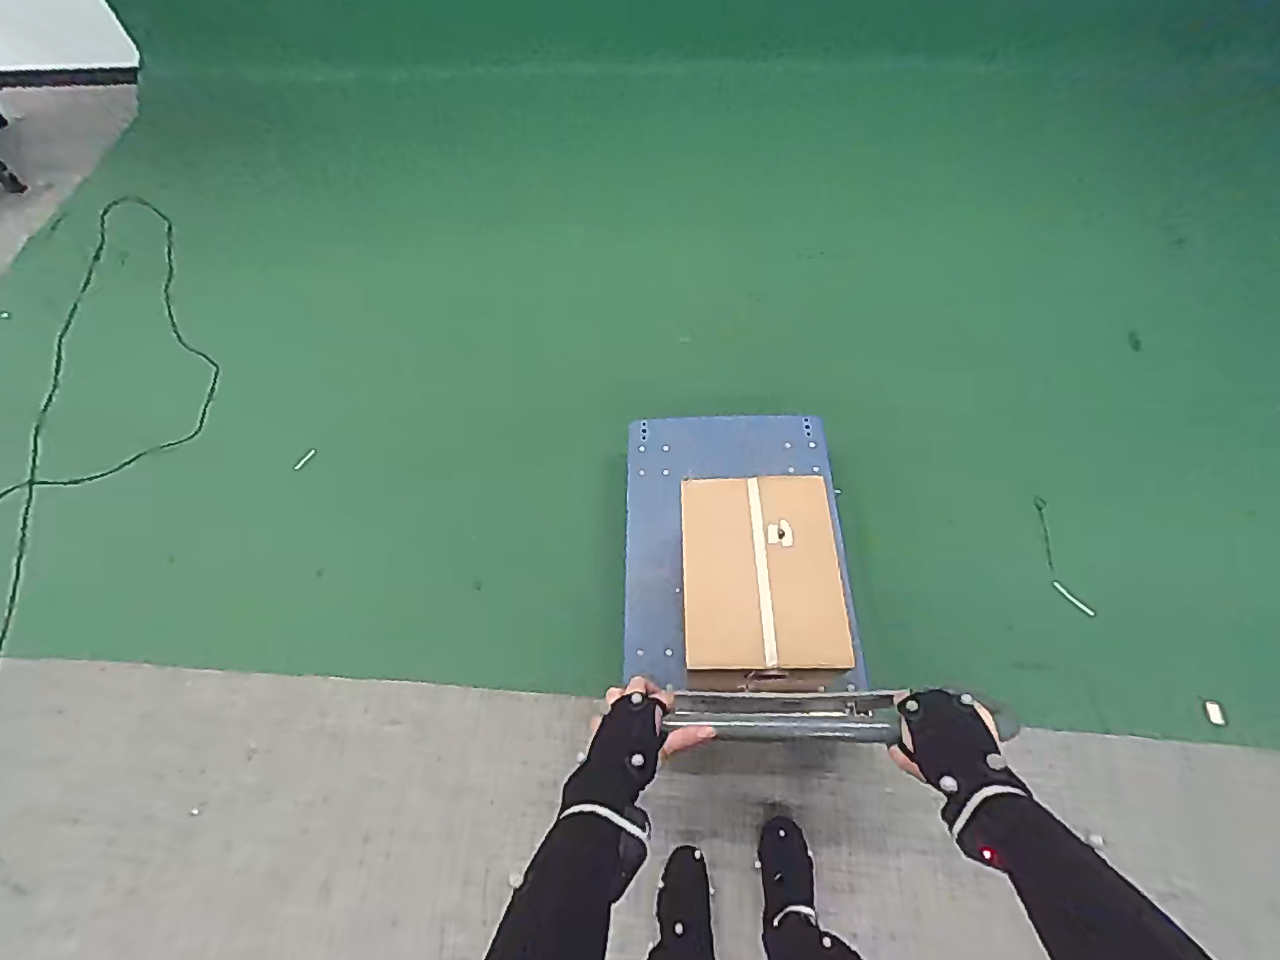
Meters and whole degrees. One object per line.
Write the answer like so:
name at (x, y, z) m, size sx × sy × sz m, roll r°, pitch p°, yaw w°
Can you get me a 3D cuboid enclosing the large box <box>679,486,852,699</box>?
large box at (0.256, 0.266, 1.235) m, size 0.320 × 0.320 × 0.408 m, roll -2°, pitch 61°, yaw 4°
